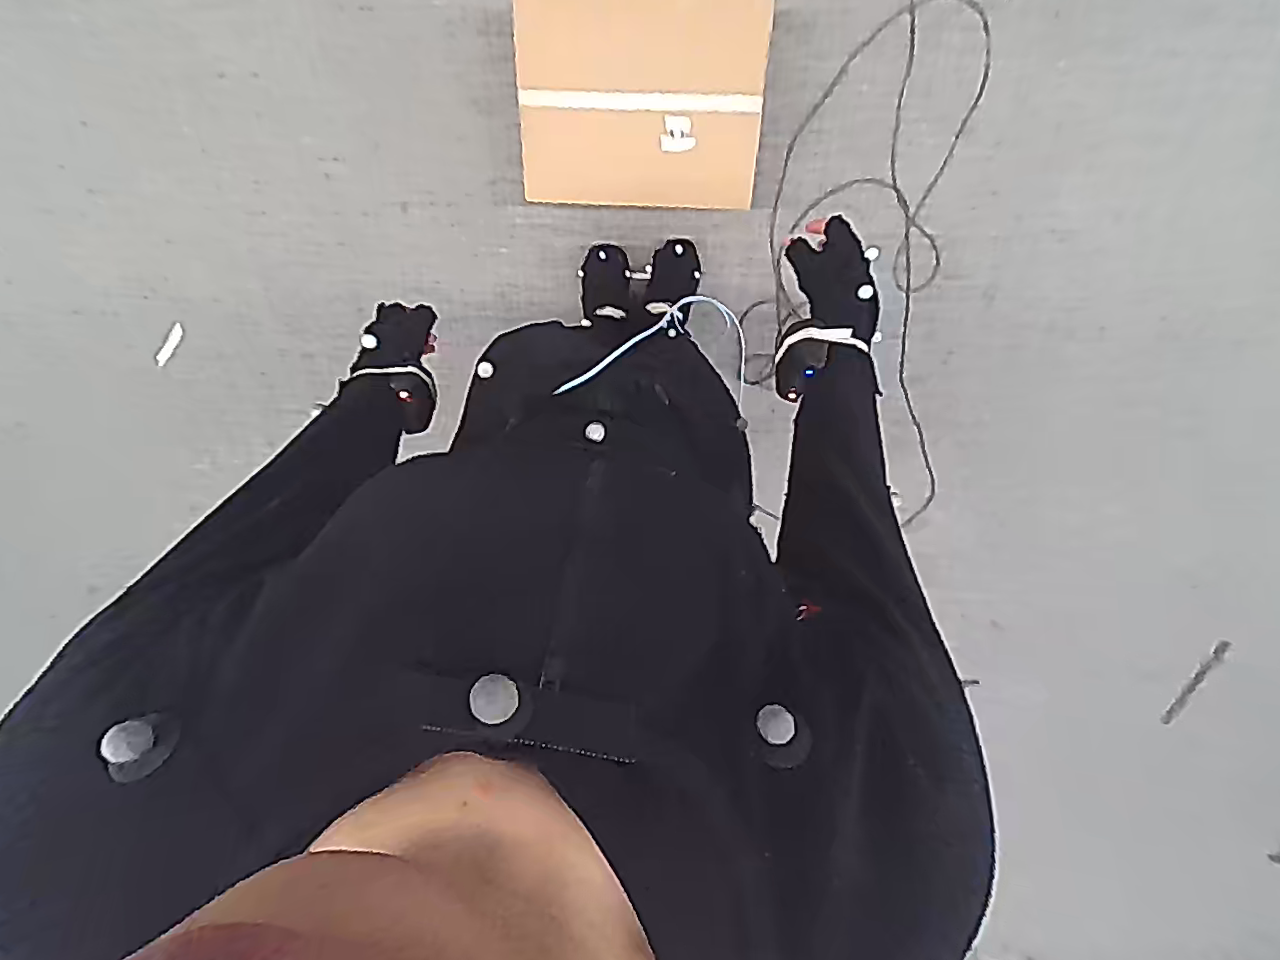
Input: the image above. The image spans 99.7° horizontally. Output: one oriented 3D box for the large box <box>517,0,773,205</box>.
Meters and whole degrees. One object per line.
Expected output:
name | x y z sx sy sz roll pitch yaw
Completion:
large box | 0.008 -0.705 1.026 0.408 0.320 0.320 3 120 1
